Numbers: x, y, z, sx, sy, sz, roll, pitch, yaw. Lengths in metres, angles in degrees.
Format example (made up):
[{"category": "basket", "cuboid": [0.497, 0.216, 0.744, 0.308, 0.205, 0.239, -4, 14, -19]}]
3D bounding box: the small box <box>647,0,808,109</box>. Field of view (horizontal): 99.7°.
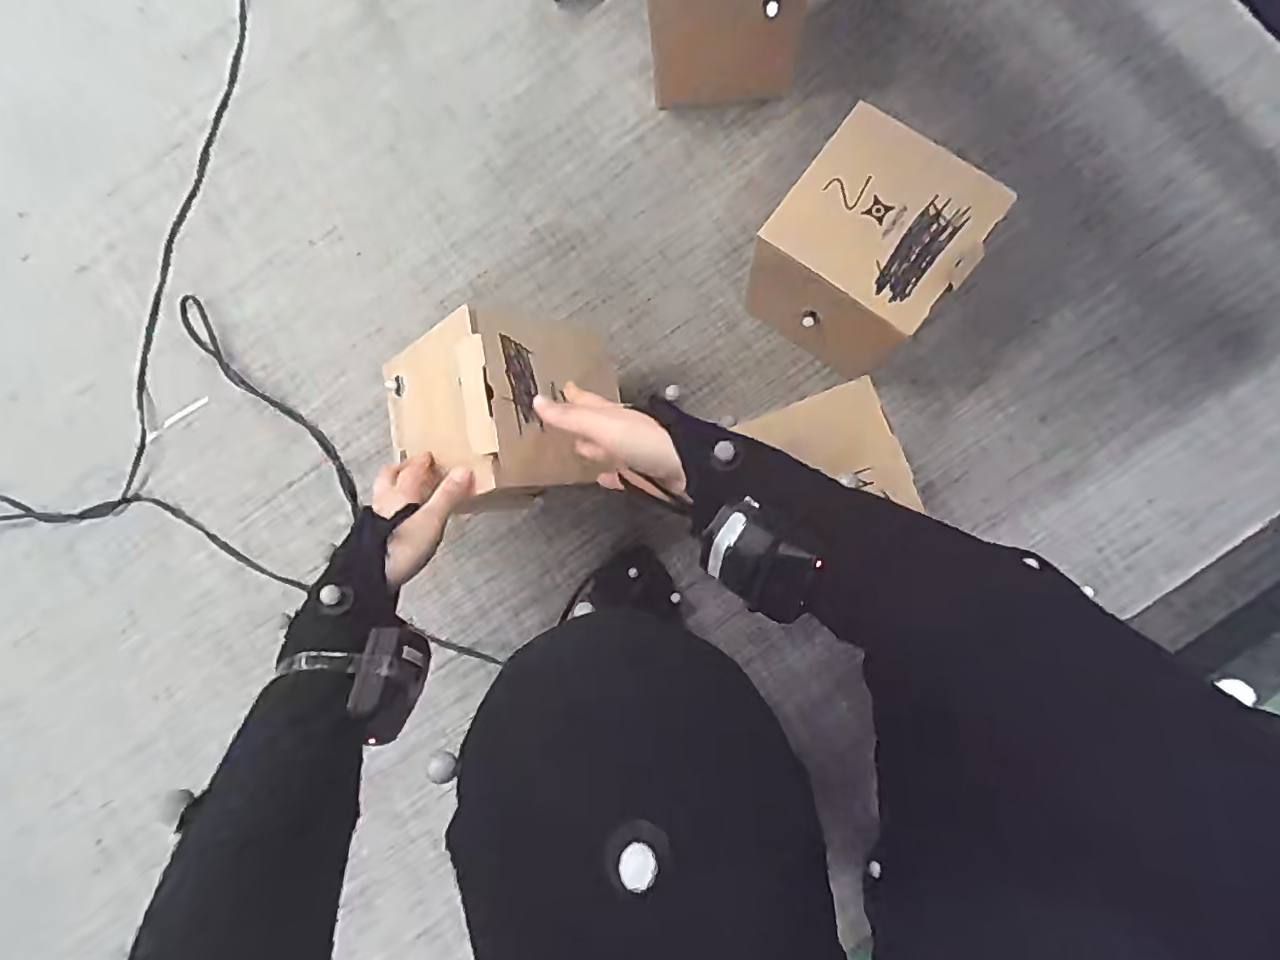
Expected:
[{"category": "small box", "cuboid": [0.098, -0.570, 0.630, 0.179, 0.176, 0.168, -2, 84, 5]}]
